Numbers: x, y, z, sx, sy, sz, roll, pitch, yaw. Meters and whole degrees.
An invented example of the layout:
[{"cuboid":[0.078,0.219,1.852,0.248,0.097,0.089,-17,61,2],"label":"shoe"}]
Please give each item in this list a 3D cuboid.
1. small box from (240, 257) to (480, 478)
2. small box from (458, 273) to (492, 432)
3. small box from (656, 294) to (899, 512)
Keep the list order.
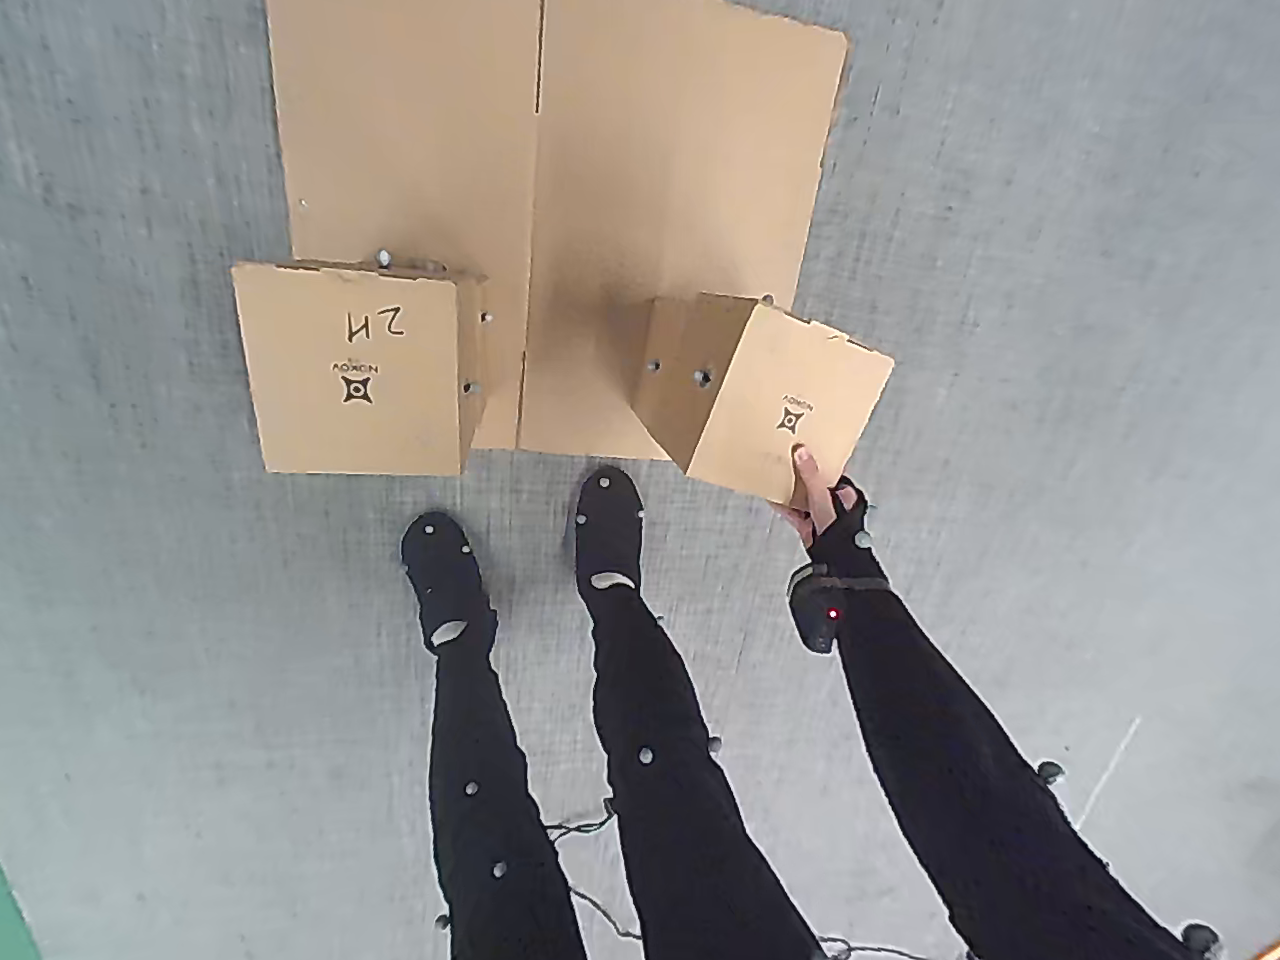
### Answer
[{"cuboid":[-0.247,-0.114,0.528,0.168,0.176,0.179,2,111,-13],"label":"small box"},{"cuboid":[-0.276,-0.170,0.681,0.168,0.176,0.179,1,111,-12],"label":"small box"},{"cuboid":[0.132,-0.092,0.593,0.168,0.176,0.179,16,107,-19],"label":"small box"}]
